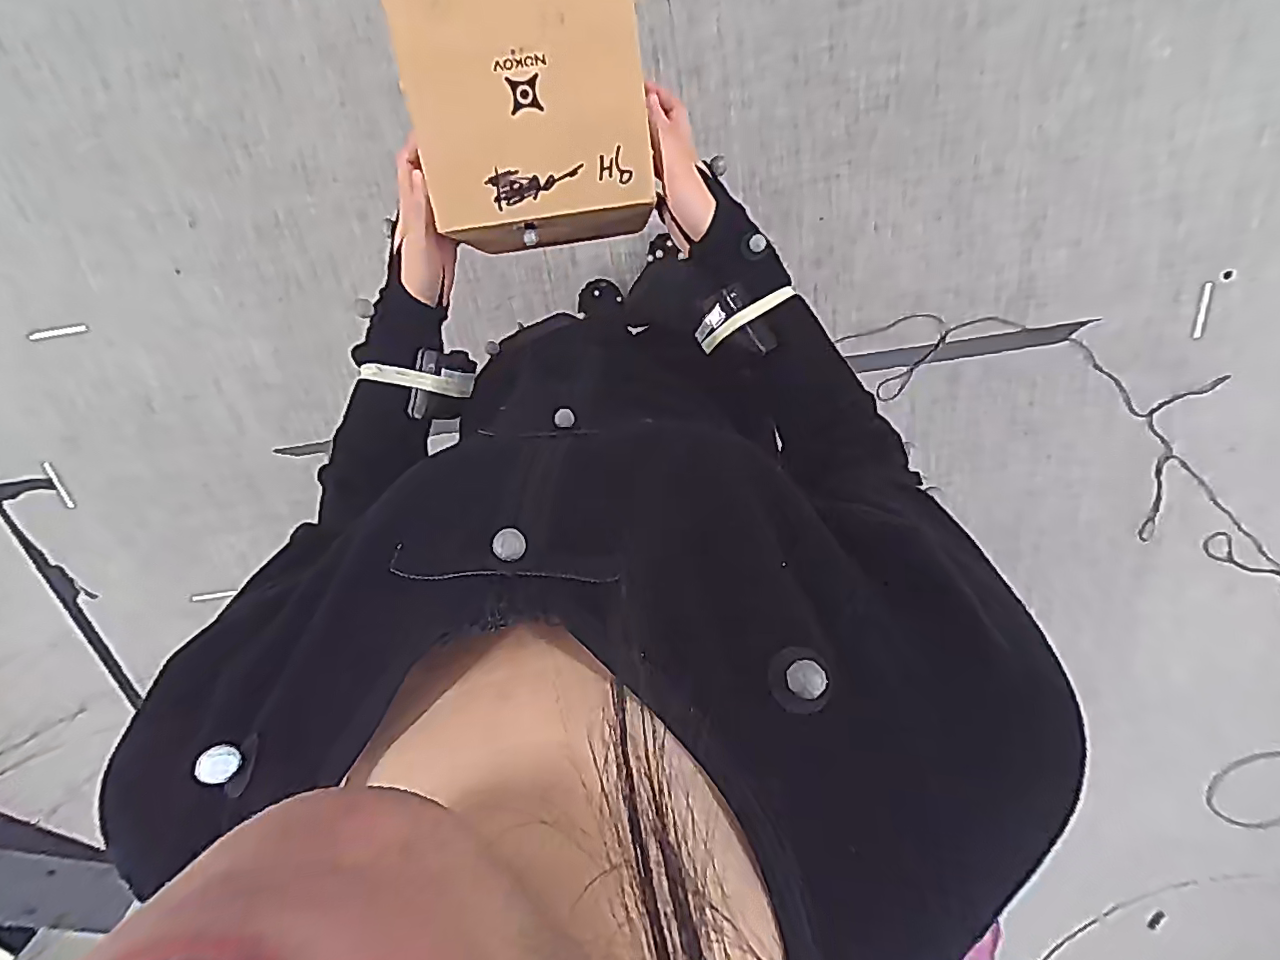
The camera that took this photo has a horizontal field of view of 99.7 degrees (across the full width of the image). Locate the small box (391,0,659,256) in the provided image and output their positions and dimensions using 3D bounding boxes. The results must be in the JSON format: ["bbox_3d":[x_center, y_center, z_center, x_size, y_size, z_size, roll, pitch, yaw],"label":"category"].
[{"bbox_3d":[-0.082,-0.296,0.448,0.168,0.176,0.179,-8,108,-1],"label":"small box"}]

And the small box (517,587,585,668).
[{"bbox_3d":[-0.263,0.439,1.628,0.179,0.176,0.168,6,111,-5],"label":"small box"}]
